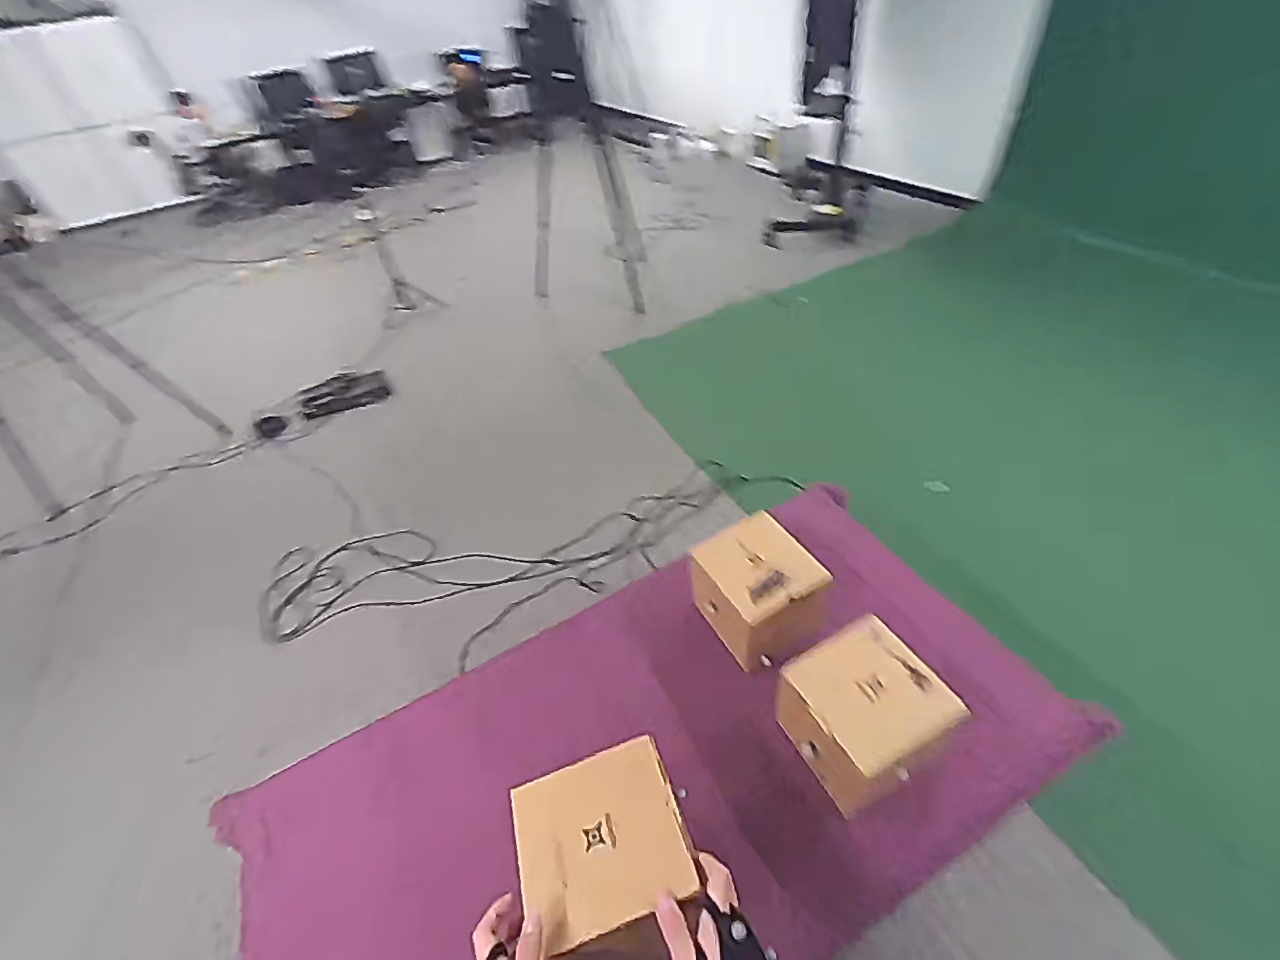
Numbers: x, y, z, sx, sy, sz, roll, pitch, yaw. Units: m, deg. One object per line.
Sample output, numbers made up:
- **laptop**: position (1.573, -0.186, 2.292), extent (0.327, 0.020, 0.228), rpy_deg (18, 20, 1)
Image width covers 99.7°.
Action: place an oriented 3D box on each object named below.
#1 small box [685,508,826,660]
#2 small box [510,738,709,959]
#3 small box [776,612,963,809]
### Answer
- **small box**: position (0.198, 0.188, 0.946), extent (0.168, 0.176, 0.179), rpy_deg (-25, 45, -15)
- **small box**: position (-0.030, 0.431, 0.606), extent (0.179, 0.176, 0.168), rpy_deg (-19, 37, -5)
- **small box**: position (0.316, 0.332, 0.776), extent (0.179, 0.176, 0.168), rpy_deg (-25, 45, -14)
